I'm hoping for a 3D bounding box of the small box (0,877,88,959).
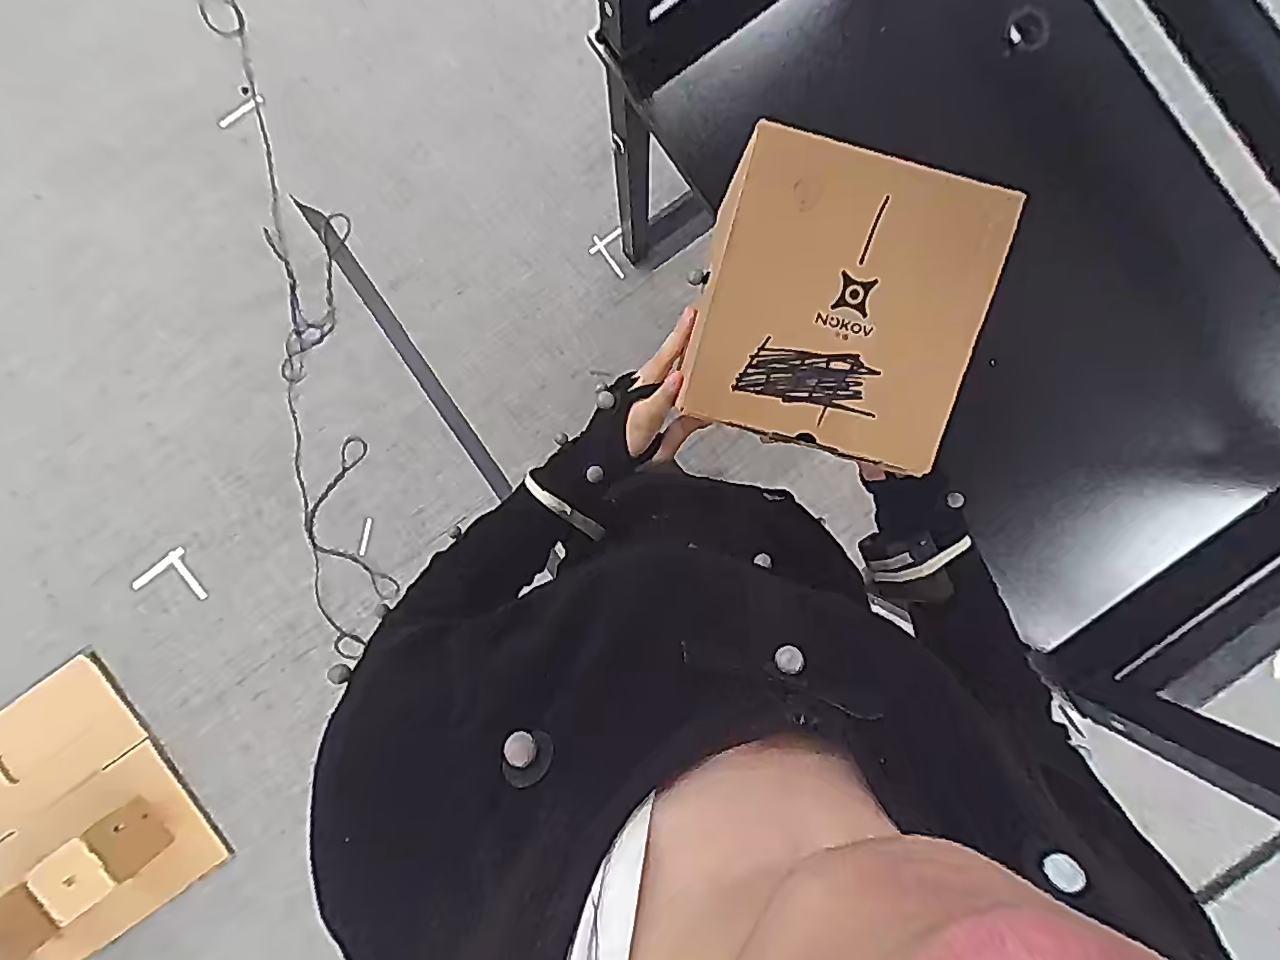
[{"bbox_3d":[-1.613,1.155,1.412,0.179,0.176,0.168,-42,90,0],"label":"small box"}]

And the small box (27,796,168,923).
[{"bbox_3d":[-1.394,0.976,1.410,0.179,0.176,0.168,-38,90,1],"label":"small box"}]

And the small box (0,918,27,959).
[{"bbox_3d":[-1.612,1.162,1.247,0.179,0.176,0.168,-40,92,1],"label":"small box"}]
